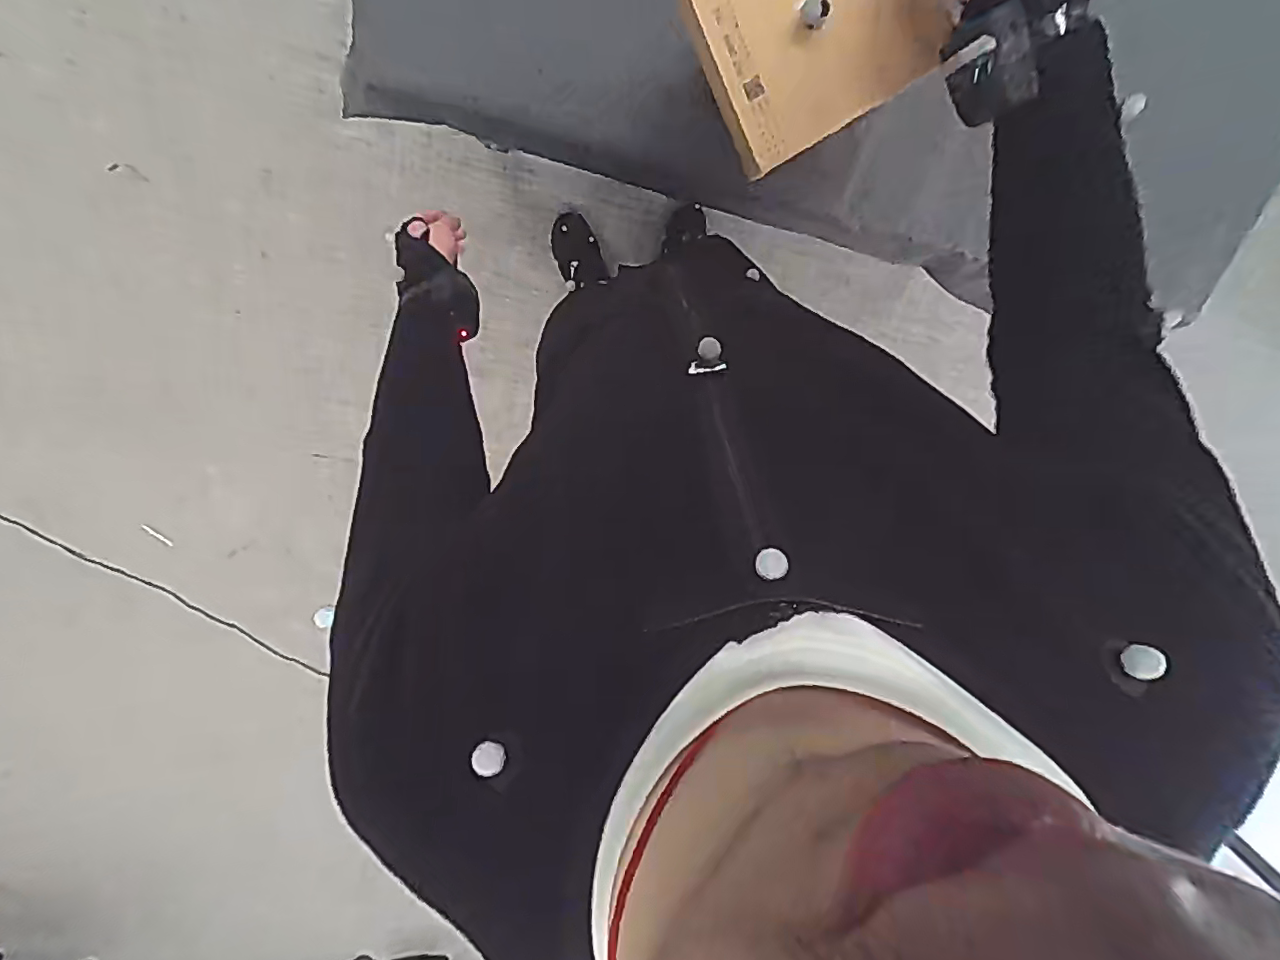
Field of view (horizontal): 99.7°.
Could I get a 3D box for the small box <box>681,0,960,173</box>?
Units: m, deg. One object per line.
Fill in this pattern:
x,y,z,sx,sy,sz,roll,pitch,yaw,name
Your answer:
0.147,-0.407,0.493,0.176,0.179,0.168,-27,113,19,small box
